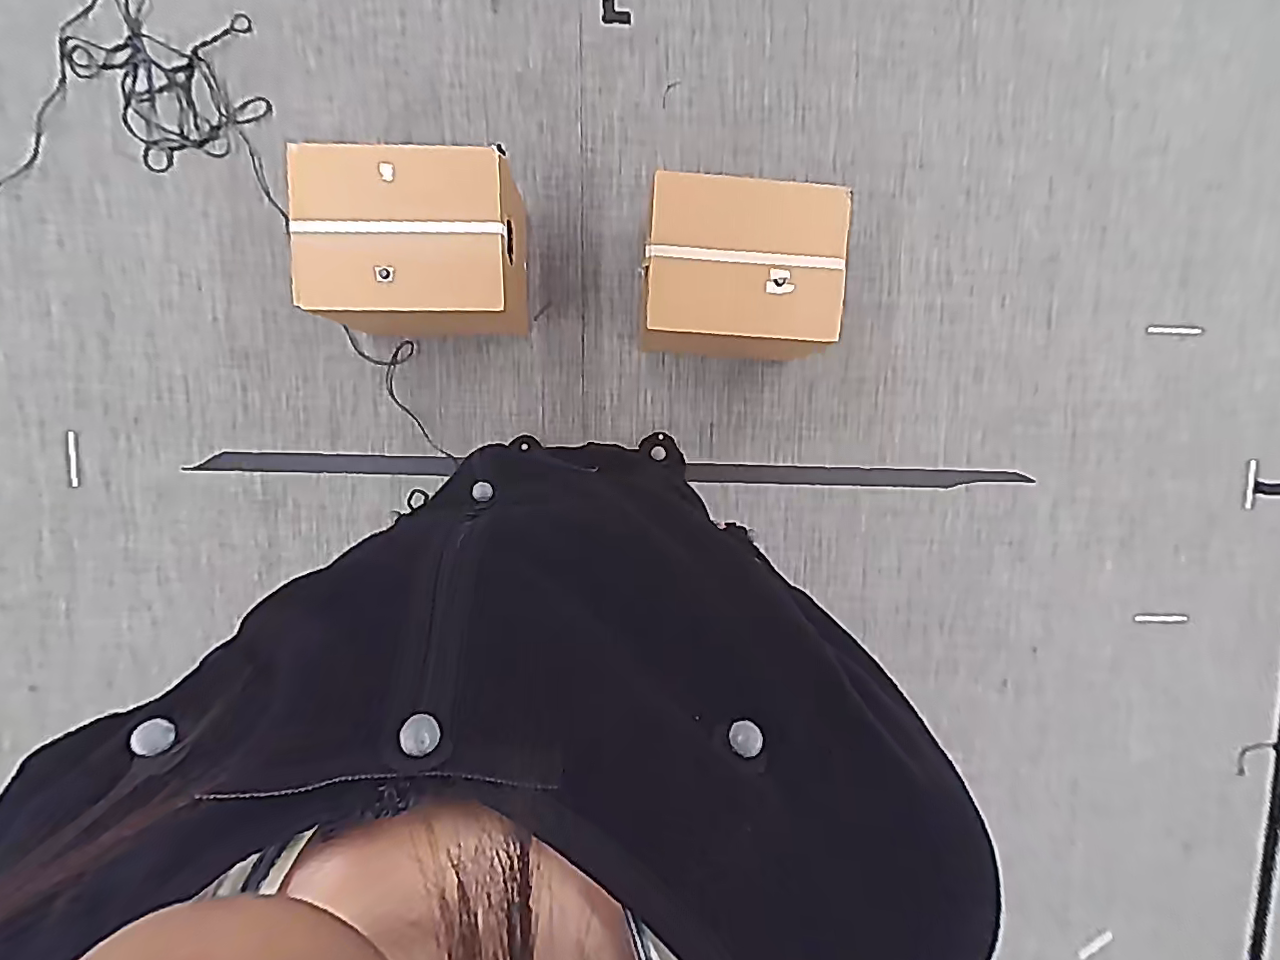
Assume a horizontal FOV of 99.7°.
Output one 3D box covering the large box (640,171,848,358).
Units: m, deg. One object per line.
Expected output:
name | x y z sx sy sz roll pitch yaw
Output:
large box | 0.212 -0.470 1.253 0.408 0.320 0.320 3 95 -4
